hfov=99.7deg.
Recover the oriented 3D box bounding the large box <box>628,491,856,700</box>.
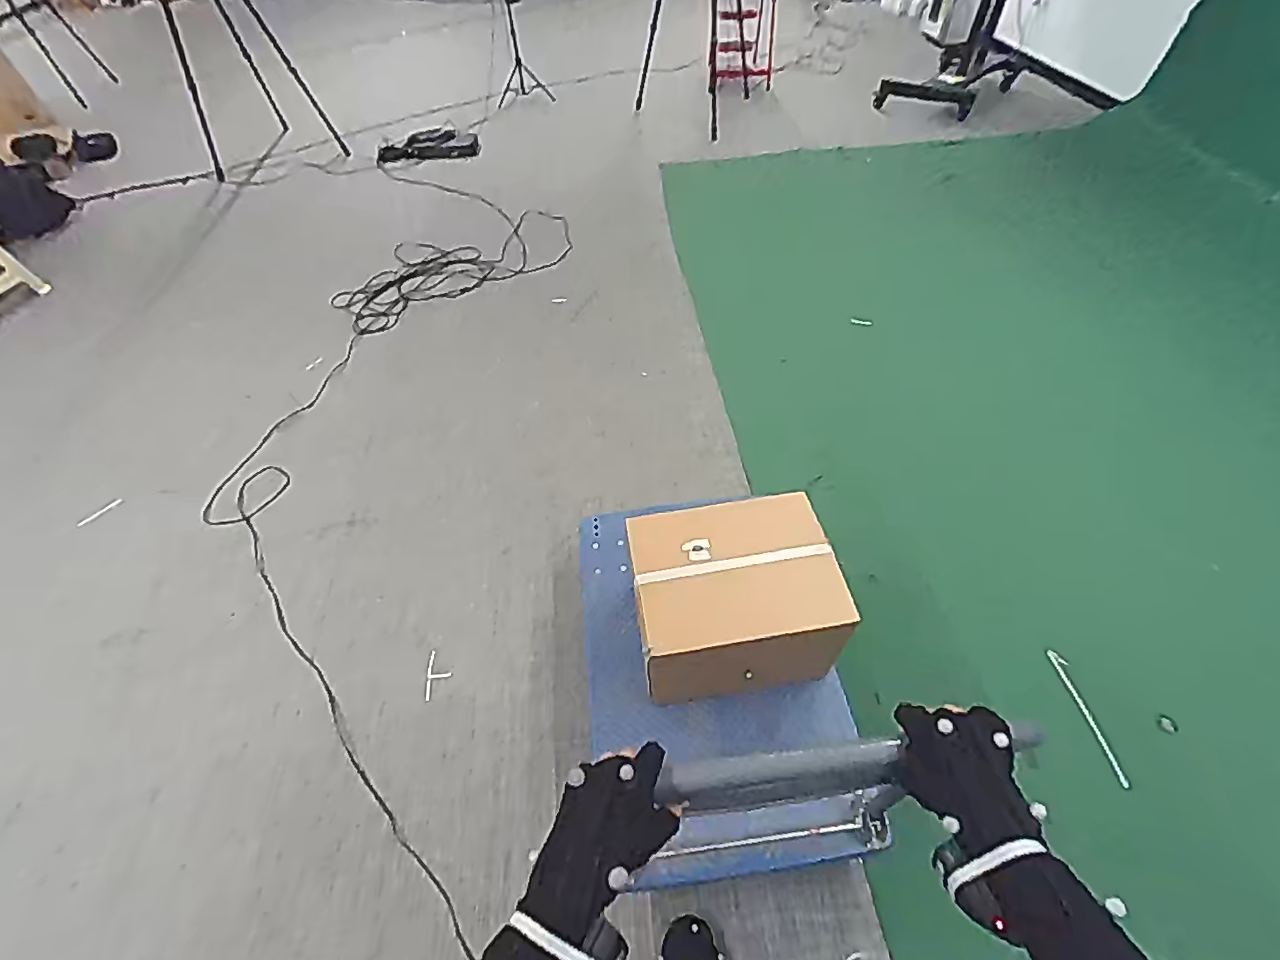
[{"bbox_3d":[0.206,0.267,1.225,0.408,0.320,0.320,-11,52,-3],"label":"large box"}]
